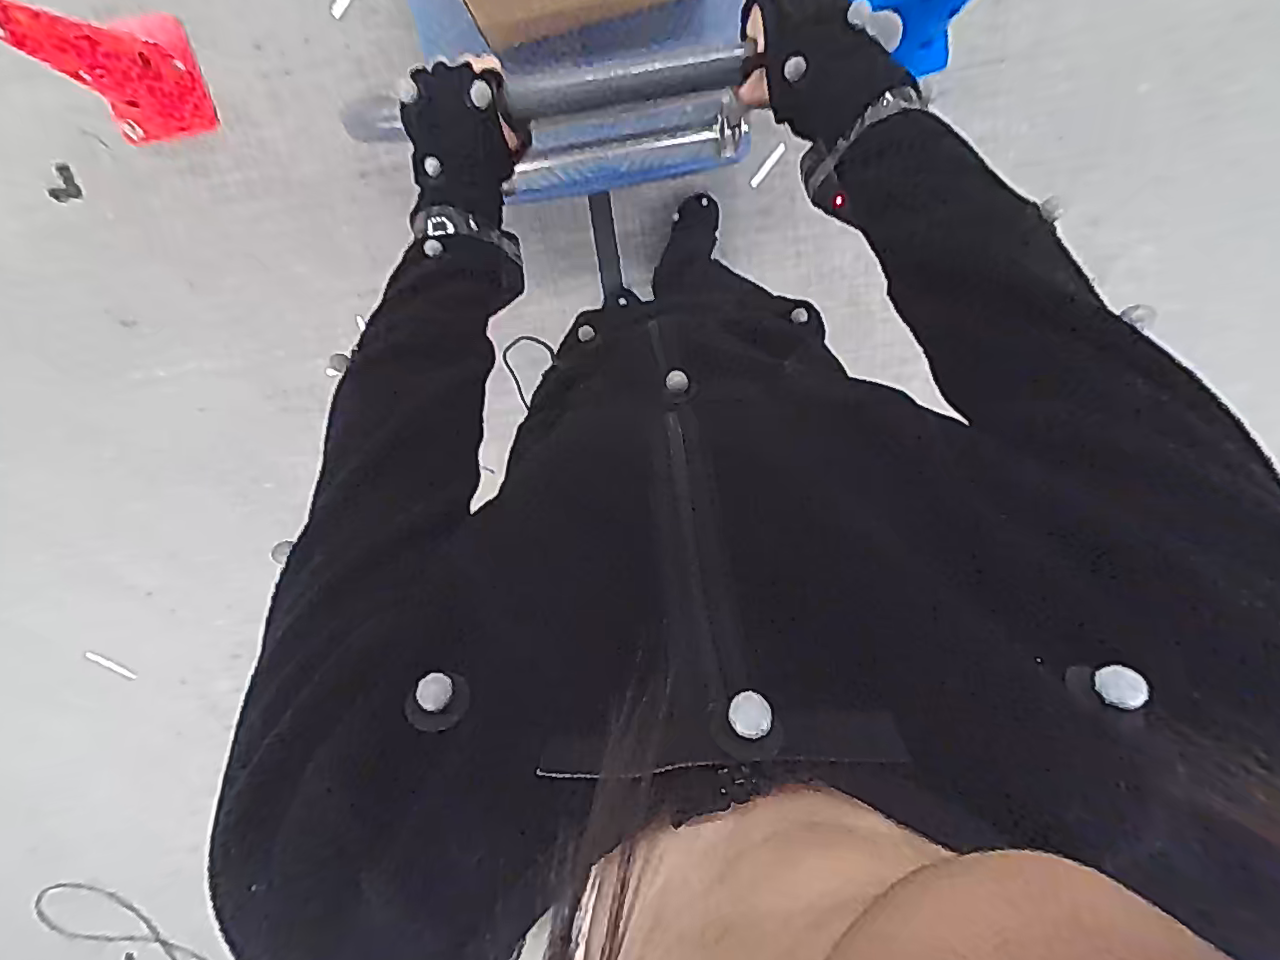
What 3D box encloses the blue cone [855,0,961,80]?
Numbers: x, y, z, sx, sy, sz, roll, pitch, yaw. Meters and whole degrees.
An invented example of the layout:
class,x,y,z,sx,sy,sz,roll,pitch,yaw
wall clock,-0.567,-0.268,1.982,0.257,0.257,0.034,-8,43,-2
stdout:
class,x,y,z,sx,sy,sz,roll,pitch,yaw
blue cone,0.561,-0.905,0.978,0.193,0.380,0.192,-13,110,1
